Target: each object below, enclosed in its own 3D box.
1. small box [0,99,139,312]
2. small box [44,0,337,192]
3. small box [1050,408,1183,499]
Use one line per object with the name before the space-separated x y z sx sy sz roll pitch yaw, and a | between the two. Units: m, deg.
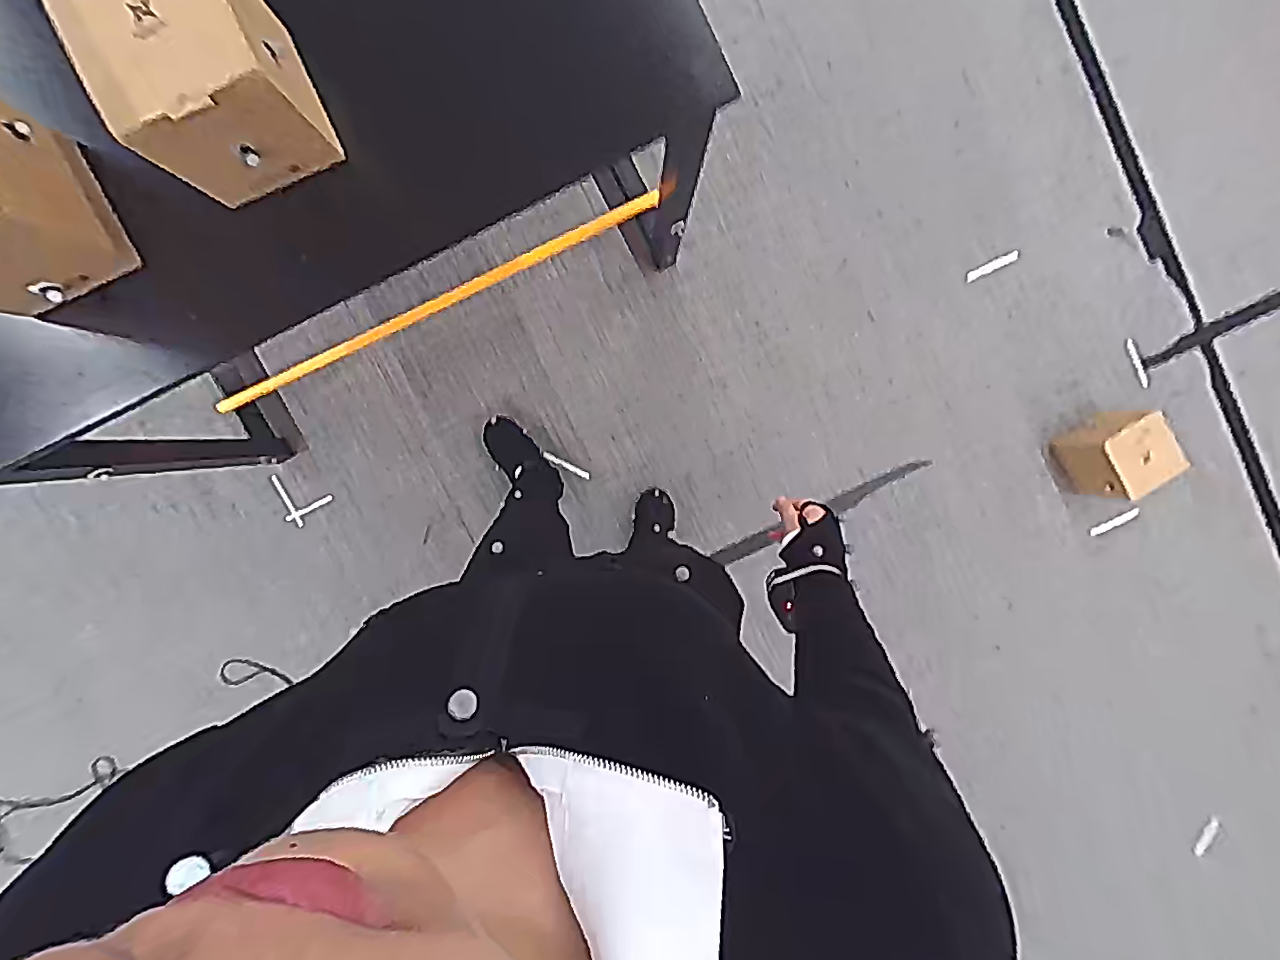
small box | -0.751 -0.319 0.616 0.168 0.176 0.179 -26 96 1
small box | -0.487 -0.459 0.612 0.168 0.176 0.179 -24 95 0
small box | 1.248 -0.074 1.428 0.168 0.176 0.179 -32 95 1
